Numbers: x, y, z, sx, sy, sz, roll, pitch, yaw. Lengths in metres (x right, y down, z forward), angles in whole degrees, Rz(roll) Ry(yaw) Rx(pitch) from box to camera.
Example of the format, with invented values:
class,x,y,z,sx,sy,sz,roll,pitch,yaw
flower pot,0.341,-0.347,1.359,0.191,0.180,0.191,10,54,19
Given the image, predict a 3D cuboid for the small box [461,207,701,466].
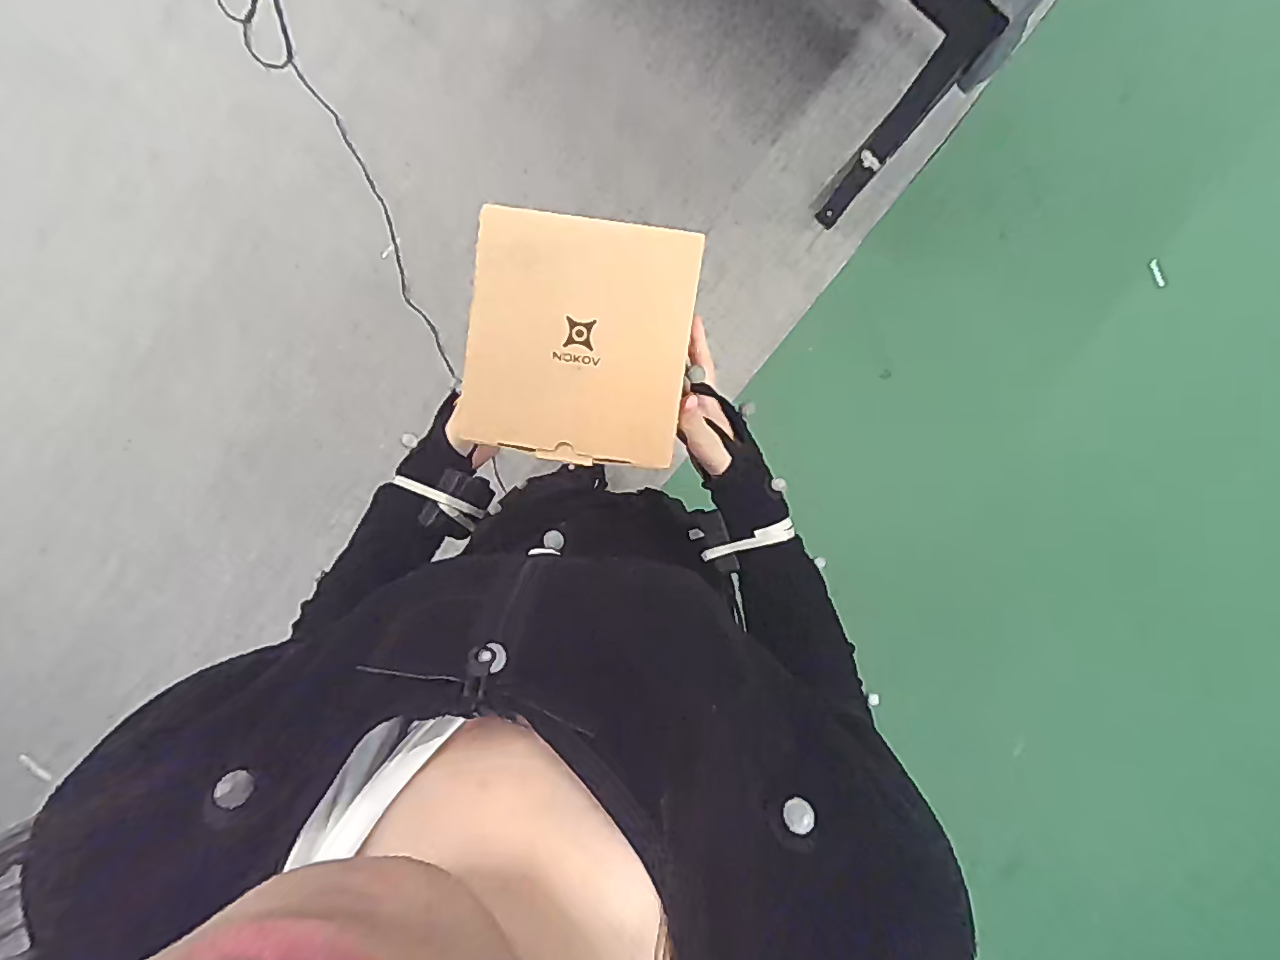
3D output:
class,x,y,z,sx,sy,sz,roll,pitch,yaw
small box,-0.045,-0.115,0.487,0.168,0.176,0.179,8,97,1
